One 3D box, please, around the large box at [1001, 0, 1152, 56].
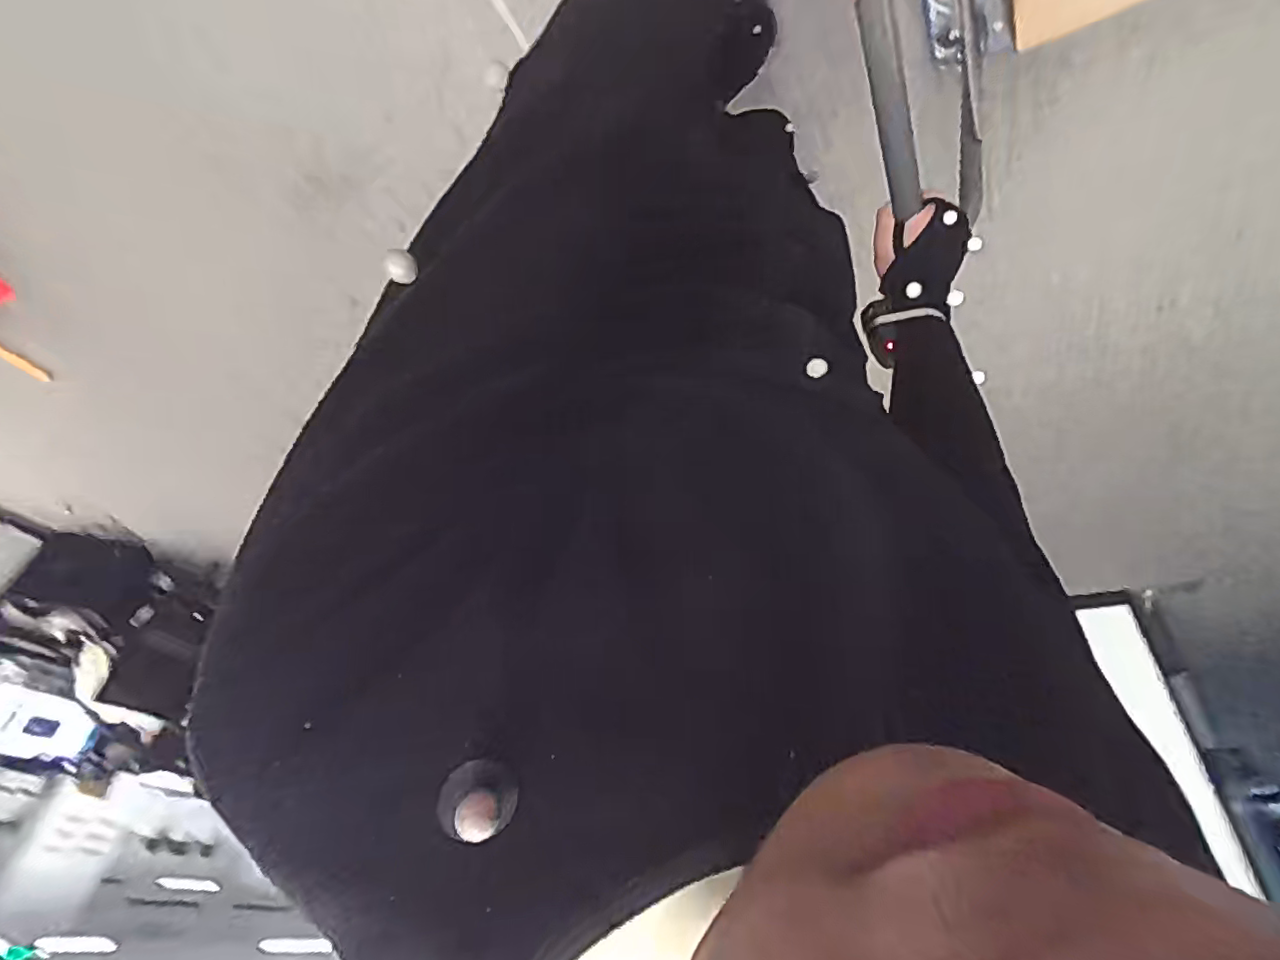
[{"bbox_3d":[0.633,-0.796,0.602,0.408,0.320,0.320,-6,142,33],"label":"large box"}]
